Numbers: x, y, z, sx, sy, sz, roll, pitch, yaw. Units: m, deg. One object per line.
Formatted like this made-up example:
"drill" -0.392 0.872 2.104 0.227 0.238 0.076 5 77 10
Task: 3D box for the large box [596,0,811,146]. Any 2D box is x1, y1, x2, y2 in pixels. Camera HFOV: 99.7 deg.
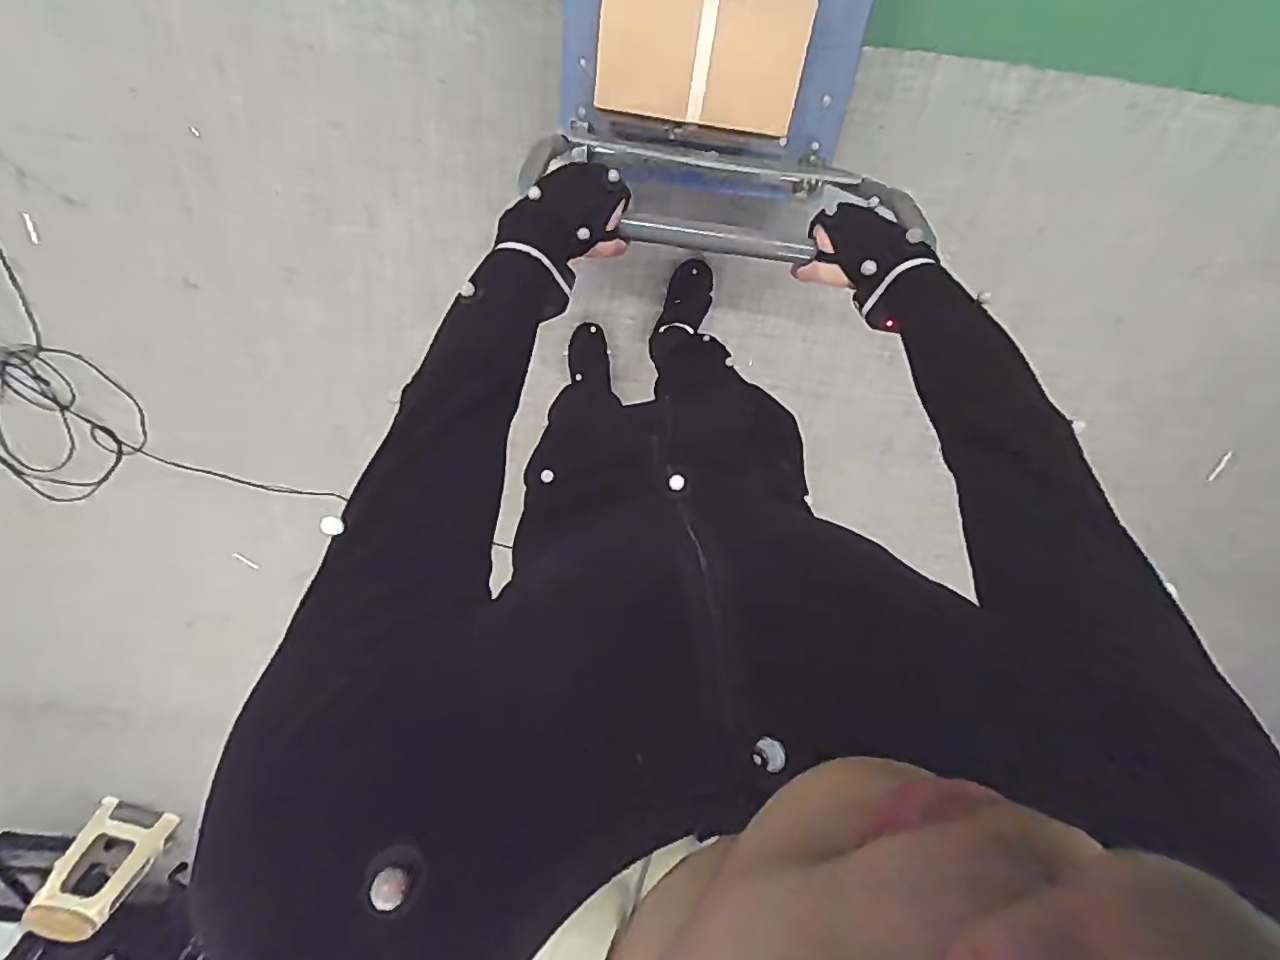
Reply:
"large box" 0.107 -0.818 0.908 0.320 0.320 0.408 7 119 -3
